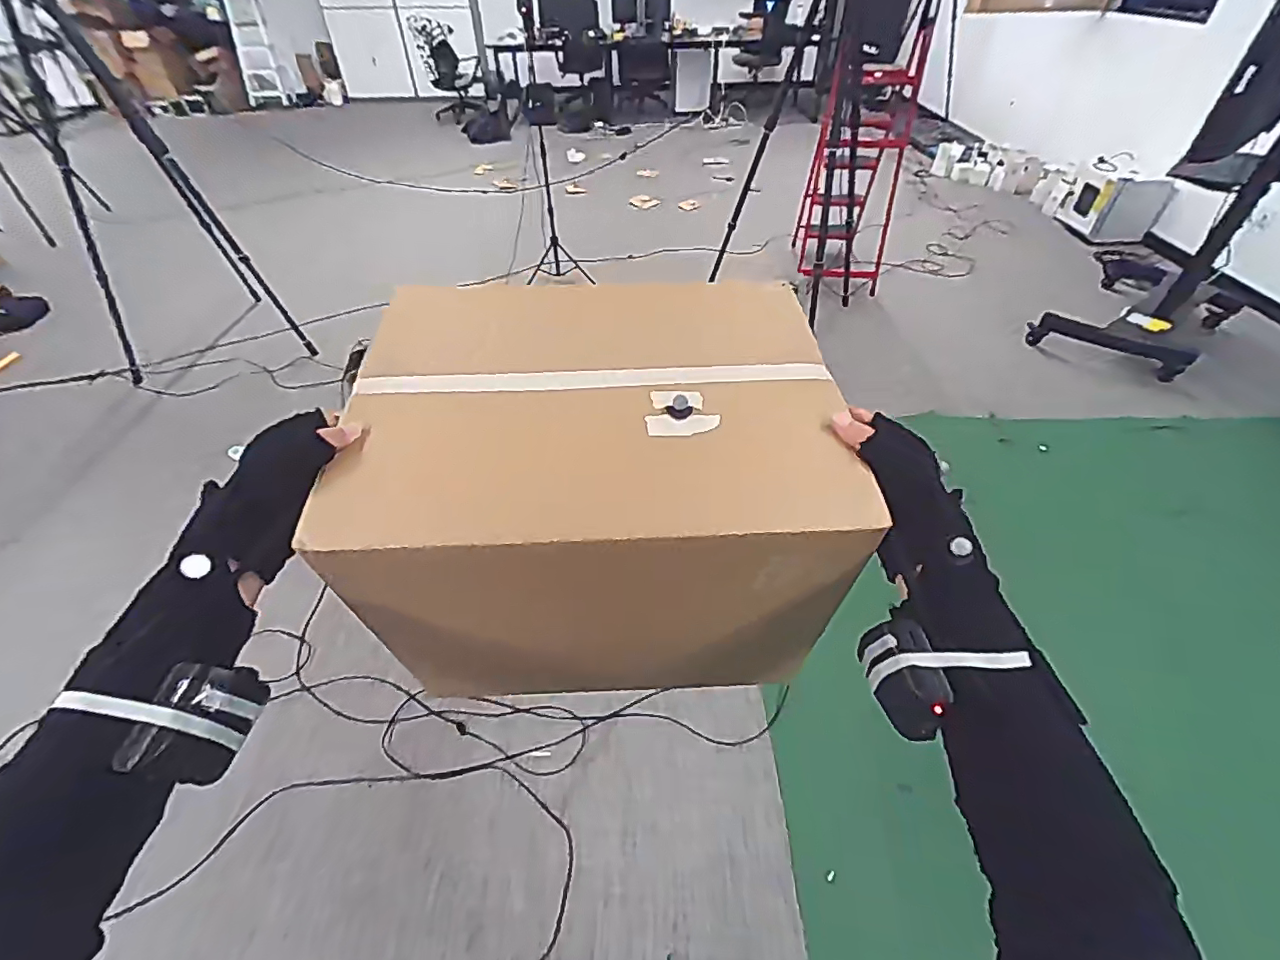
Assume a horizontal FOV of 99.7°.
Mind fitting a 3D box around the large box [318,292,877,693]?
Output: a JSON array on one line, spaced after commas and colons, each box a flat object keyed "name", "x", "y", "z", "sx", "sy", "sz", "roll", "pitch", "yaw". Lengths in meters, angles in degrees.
[{"name": "large box", "x": -0.038, "y": 0.018, "z": 0.586, "sx": 0.408, "sy": 0.320, "sz": 0.320, "roll": -2, "pitch": 52, "yaw": -3}]
